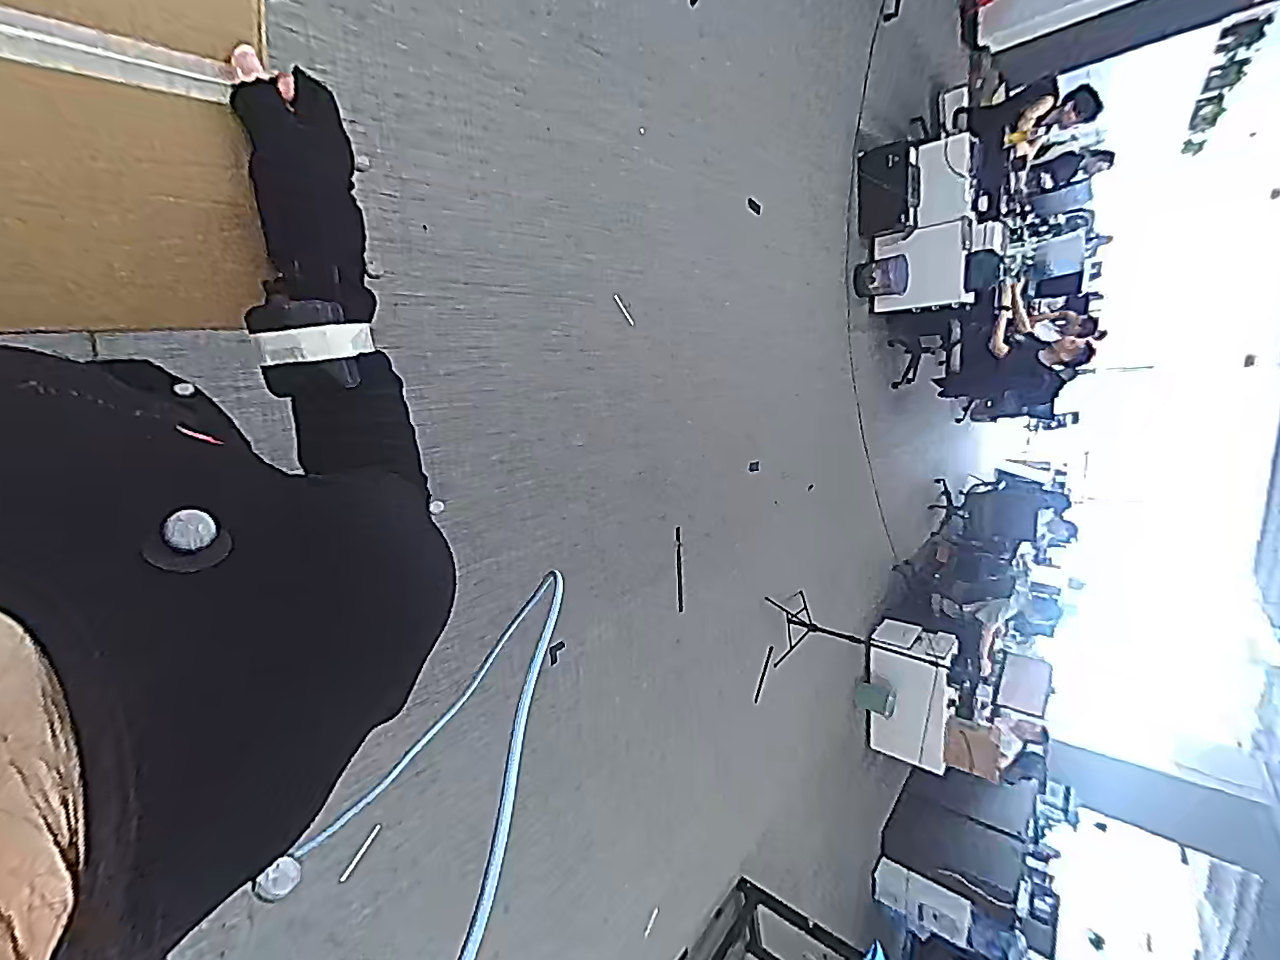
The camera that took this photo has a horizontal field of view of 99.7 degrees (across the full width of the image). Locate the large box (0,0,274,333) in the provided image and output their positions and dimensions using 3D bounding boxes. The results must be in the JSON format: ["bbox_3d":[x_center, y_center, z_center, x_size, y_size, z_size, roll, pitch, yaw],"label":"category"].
[{"bbox_3d":[-0.477,-0.284,0.277,0.408,0.320,0.320,-18,140,-44],"label":"large box"}]
